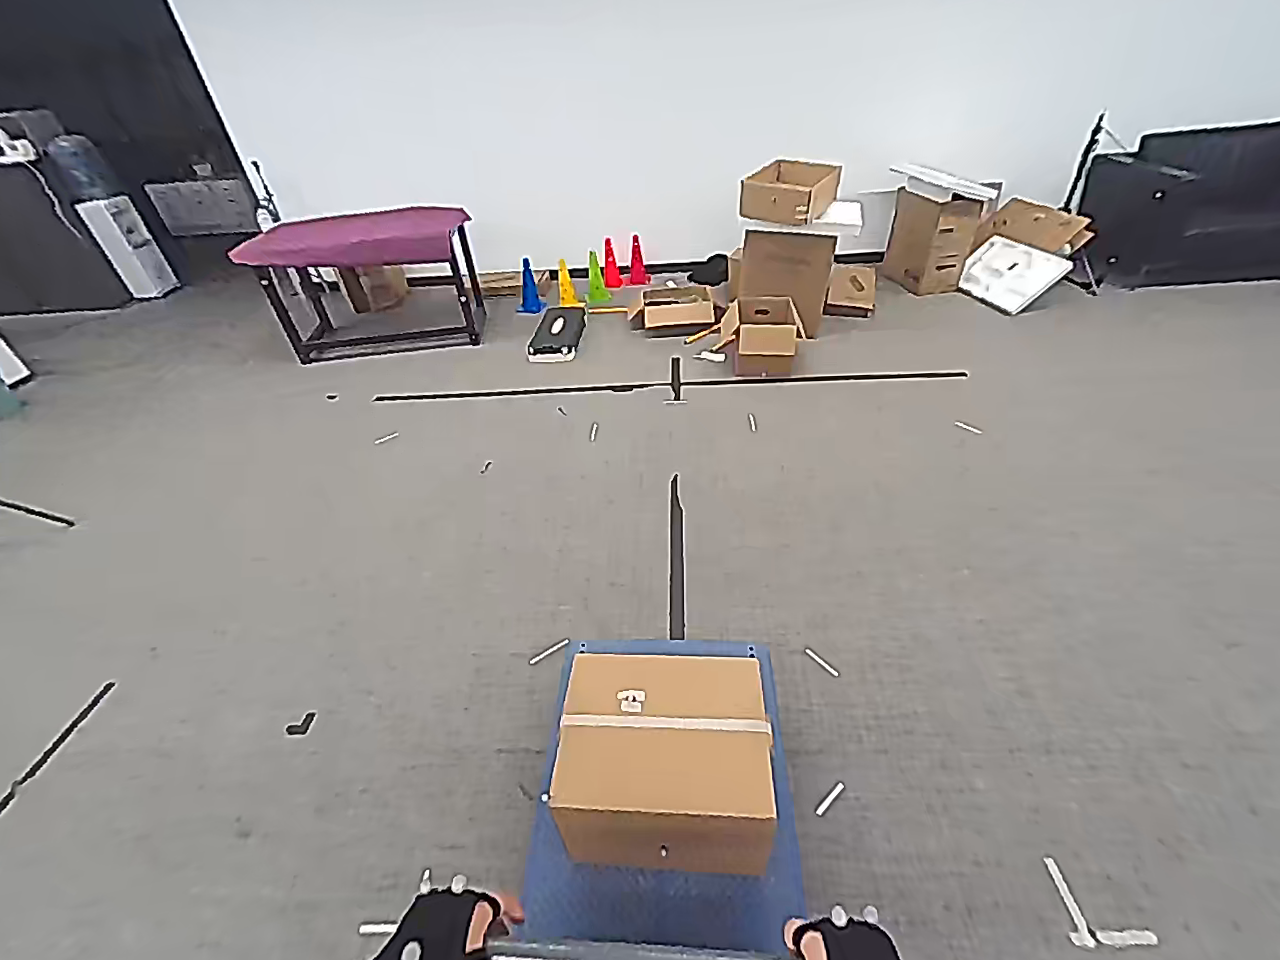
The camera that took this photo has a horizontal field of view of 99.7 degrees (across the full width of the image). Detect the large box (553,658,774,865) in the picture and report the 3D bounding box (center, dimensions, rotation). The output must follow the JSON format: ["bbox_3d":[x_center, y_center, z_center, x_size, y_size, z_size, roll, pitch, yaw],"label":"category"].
[{"bbox_3d":[0.059,0.608,1.174,0.408,0.320,0.320,-1,38,6],"label":"large box"}]
